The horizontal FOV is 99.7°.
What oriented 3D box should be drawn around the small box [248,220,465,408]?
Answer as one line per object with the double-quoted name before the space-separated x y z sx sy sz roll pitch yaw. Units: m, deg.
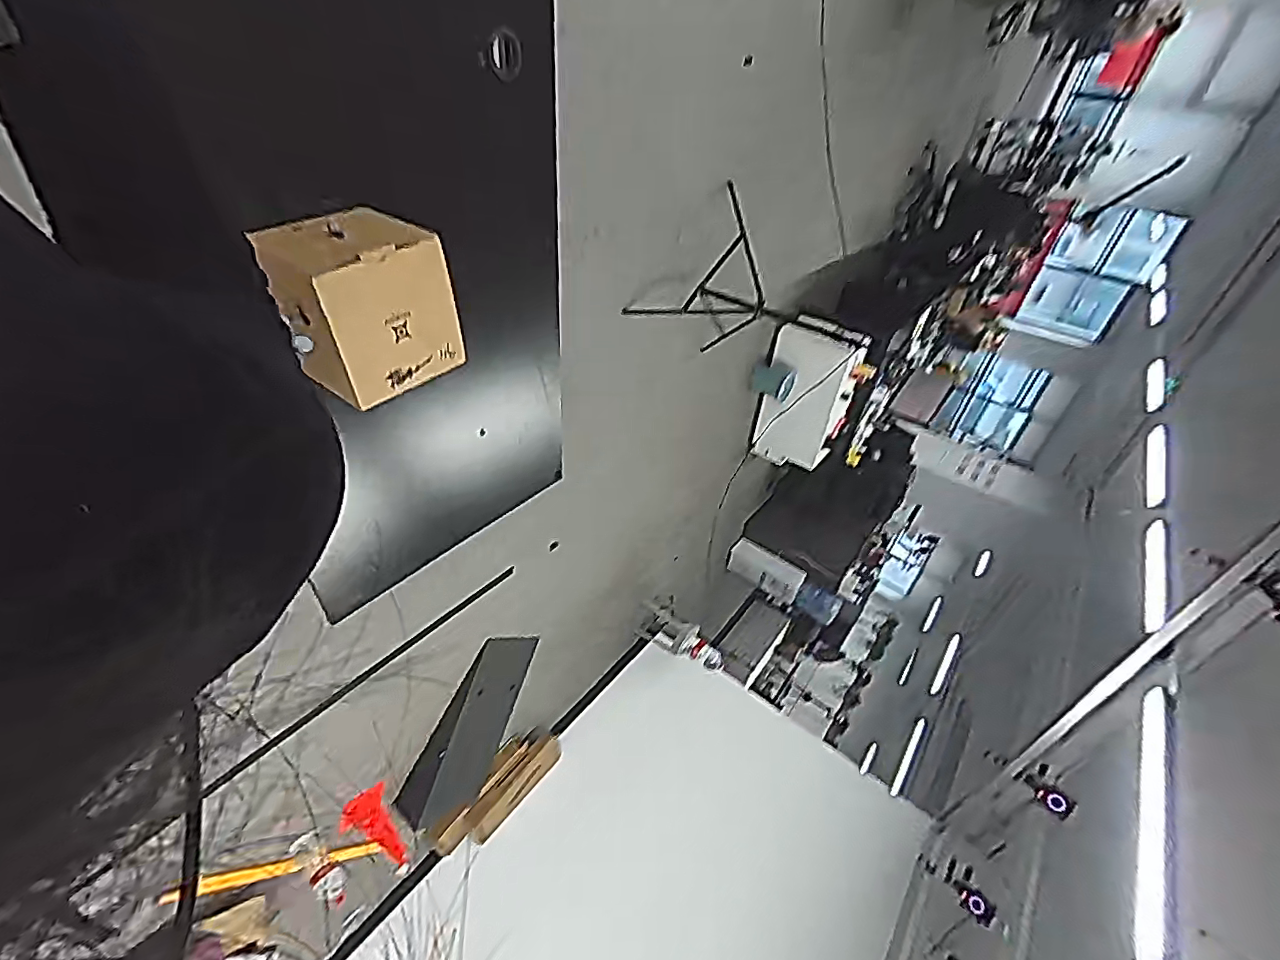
"small box" -0.363 -0.227 0.709 0.168 0.176 0.179 -40 146 -37
